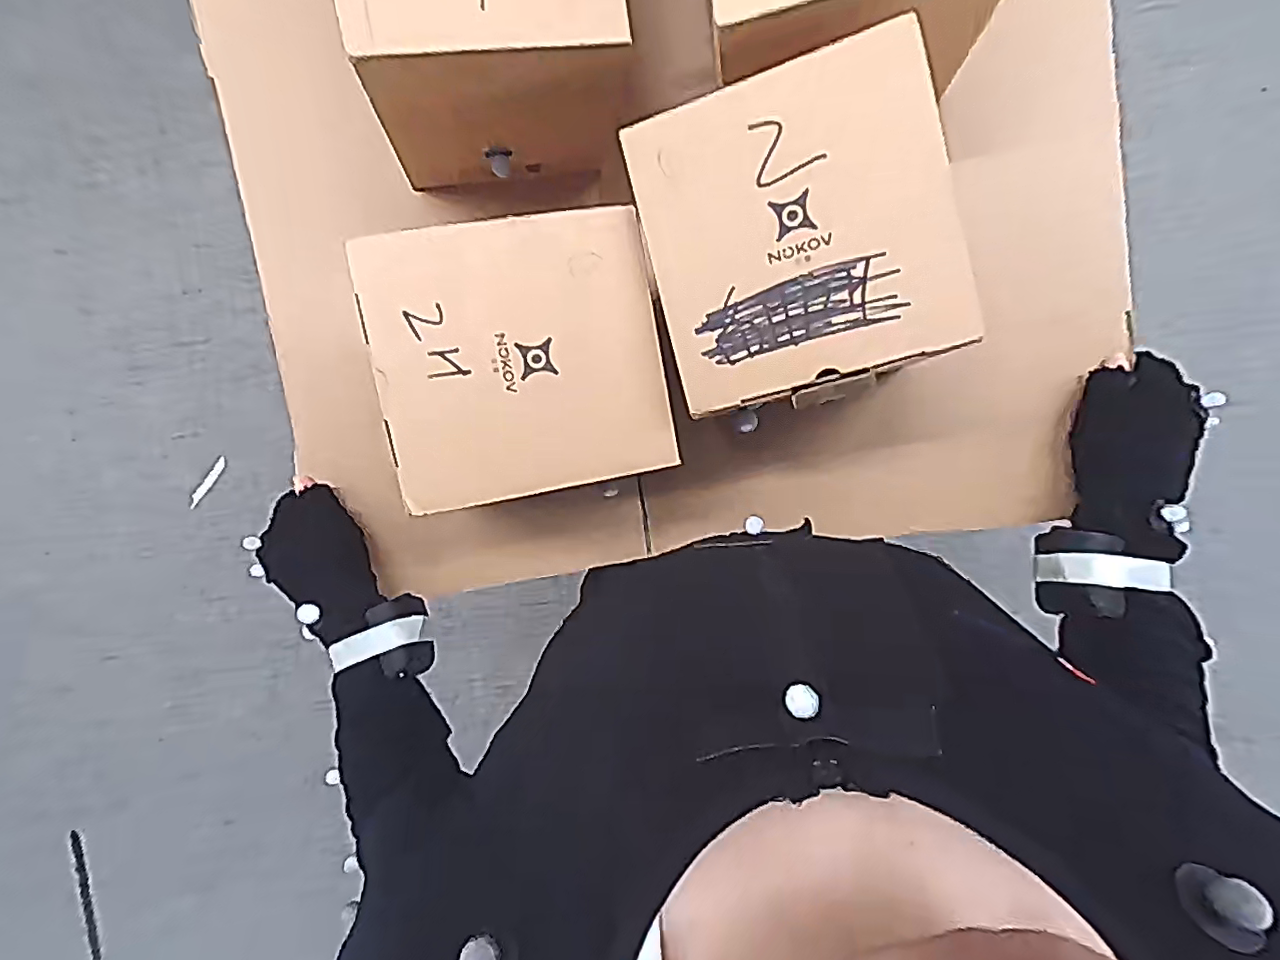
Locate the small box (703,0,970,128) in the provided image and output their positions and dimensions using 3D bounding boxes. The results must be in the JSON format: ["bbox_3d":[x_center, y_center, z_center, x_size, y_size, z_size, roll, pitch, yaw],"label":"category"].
[{"bbox_3d":[0.122,-0.367,0.355,0.168,0.176,0.179,-7,95,13],"label":"small box"}]
